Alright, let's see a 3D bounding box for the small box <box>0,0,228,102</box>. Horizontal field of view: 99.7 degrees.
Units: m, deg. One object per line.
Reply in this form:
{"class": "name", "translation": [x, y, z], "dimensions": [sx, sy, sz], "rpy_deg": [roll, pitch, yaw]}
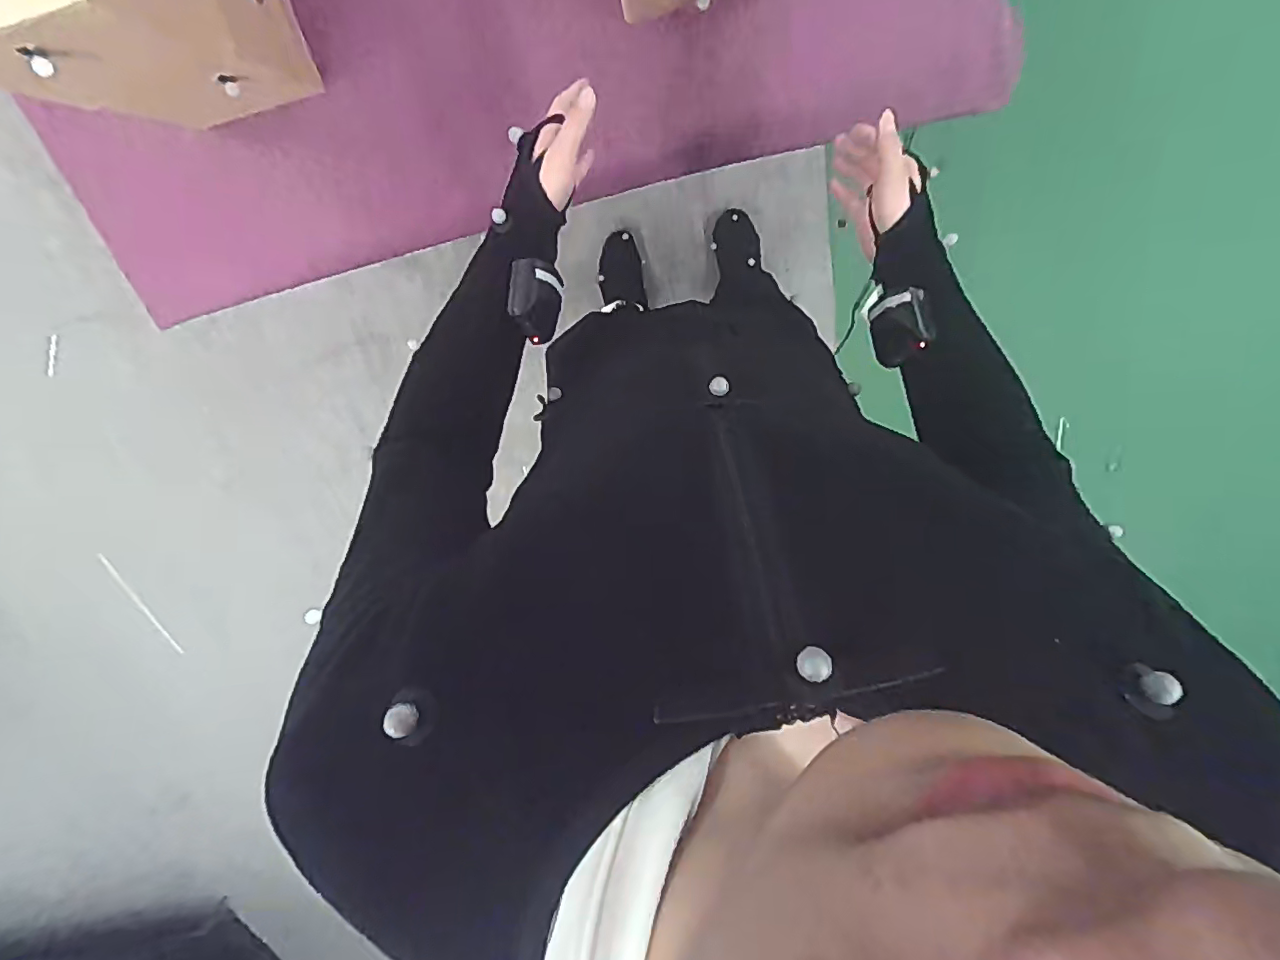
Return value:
{"class": "small box", "translation": [-0.497, -0.443, 0.449], "dimensions": [0.179, 0.176, 0.168], "rpy_deg": [-12, 116, 7]}

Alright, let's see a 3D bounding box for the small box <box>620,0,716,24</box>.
{"class": "small box", "translation": [0.049, -0.606, 0.544], "dimensions": [0.179, 0.176, 0.168], "rpy_deg": [-13, 115, 7]}

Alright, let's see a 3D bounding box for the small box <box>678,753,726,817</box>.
{"class": "small box", "translation": [0.256, 1.259, 2.241], "dimensions": [0.179, 0.176, 0.168], "rpy_deg": [-7, 116, 5]}

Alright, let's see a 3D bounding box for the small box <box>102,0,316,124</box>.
{"class": "small box", "translation": [-0.497, -0.517, 0.594], "dimensions": [0.179, 0.176, 0.168], "rpy_deg": [-12, 115, 6]}
